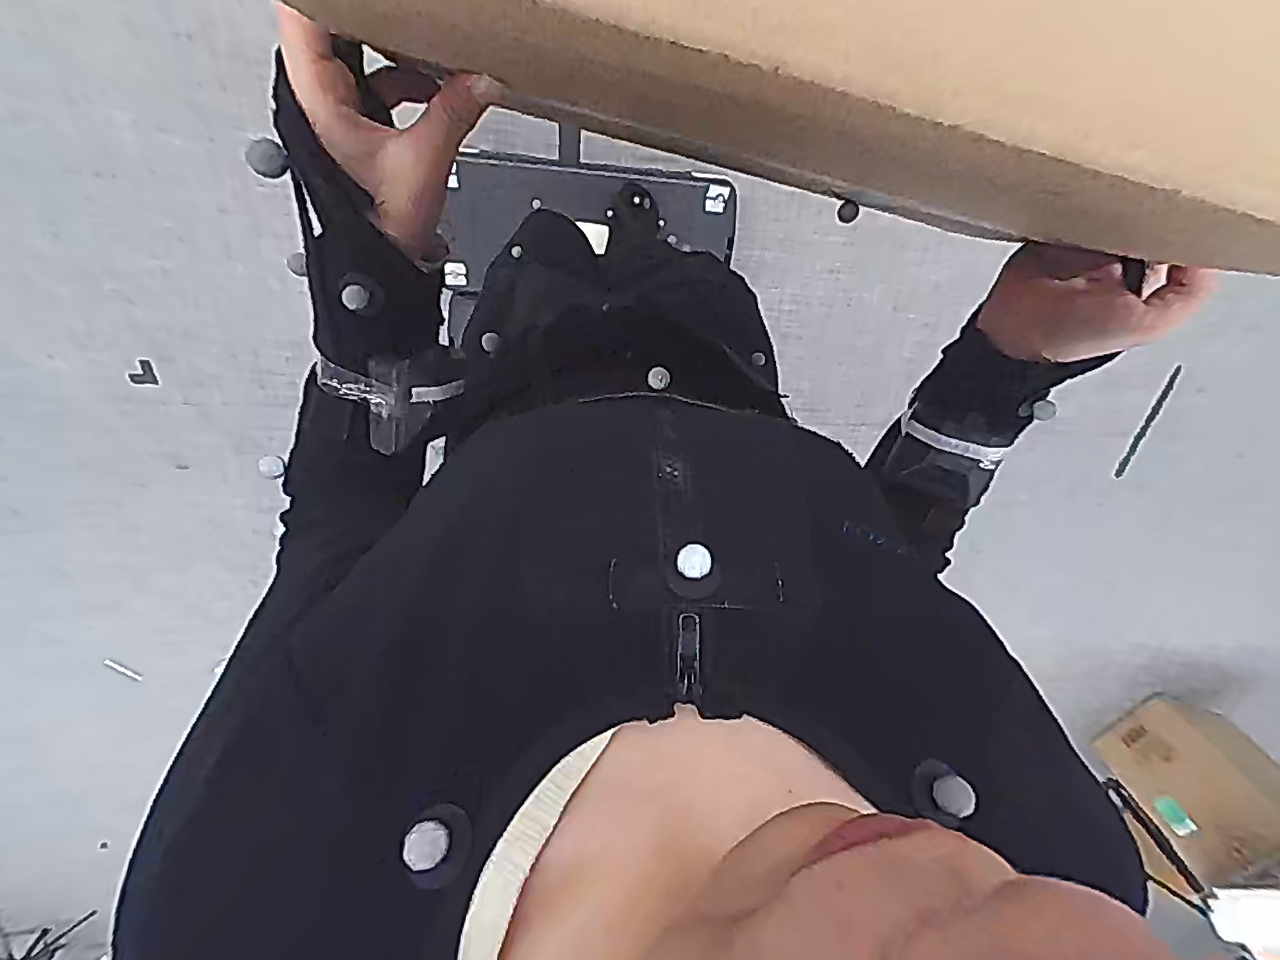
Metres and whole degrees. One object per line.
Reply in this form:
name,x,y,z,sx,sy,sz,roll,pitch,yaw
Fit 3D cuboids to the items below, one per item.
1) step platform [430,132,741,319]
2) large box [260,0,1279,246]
step platform,-0.120,-0.575,1.248,0.684,0.204,0.286,6,121,-9
large box,0.087,-0.301,0.199,0.408,0.320,0.320,9,119,-8
